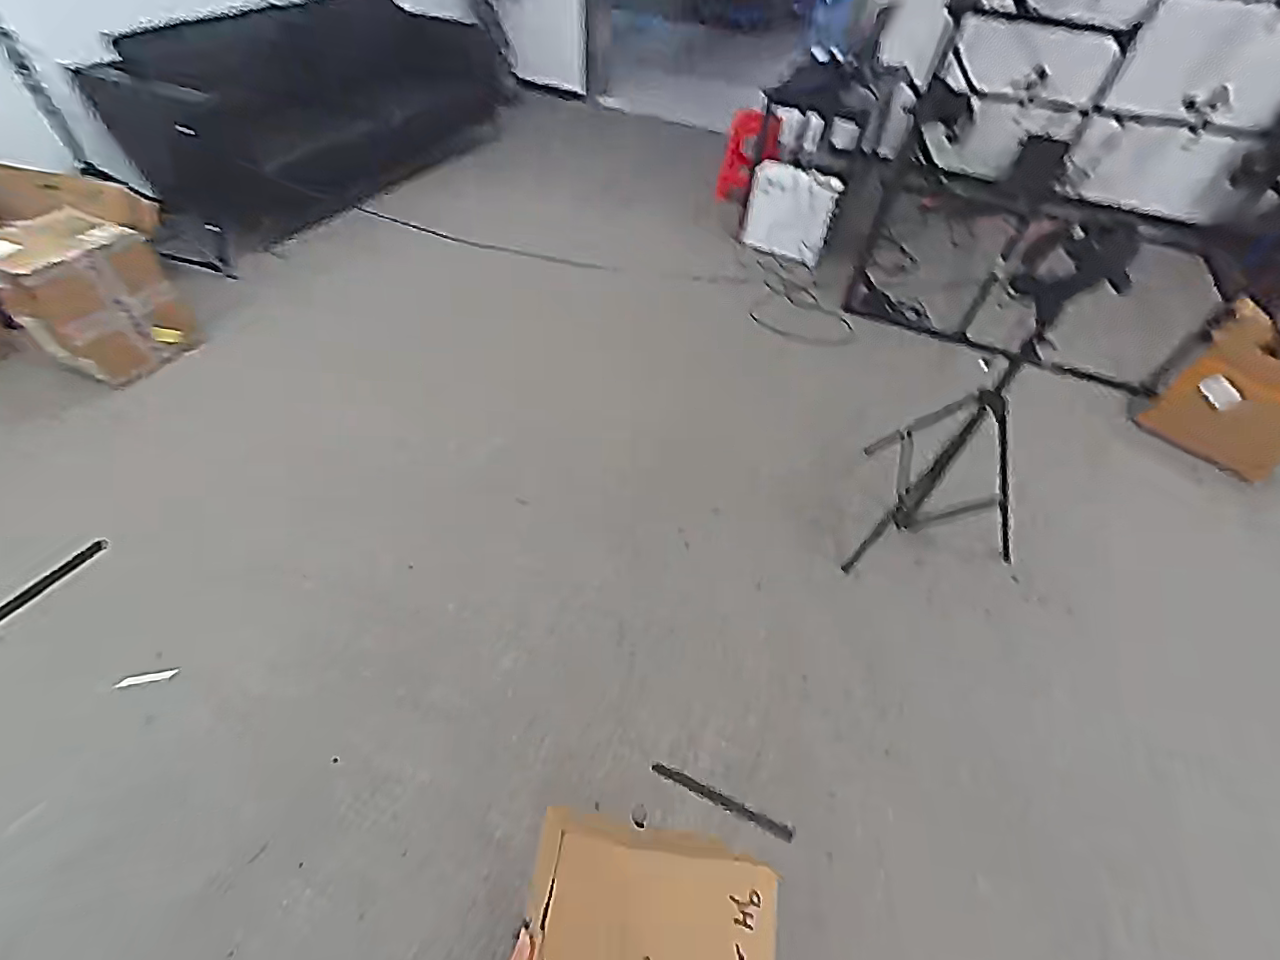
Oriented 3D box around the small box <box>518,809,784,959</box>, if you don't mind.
[{"bbox_3d":[-0.004,0.376,0.434,0.179,0.176,0.168,14,63,-7],"label":"small box"}]
